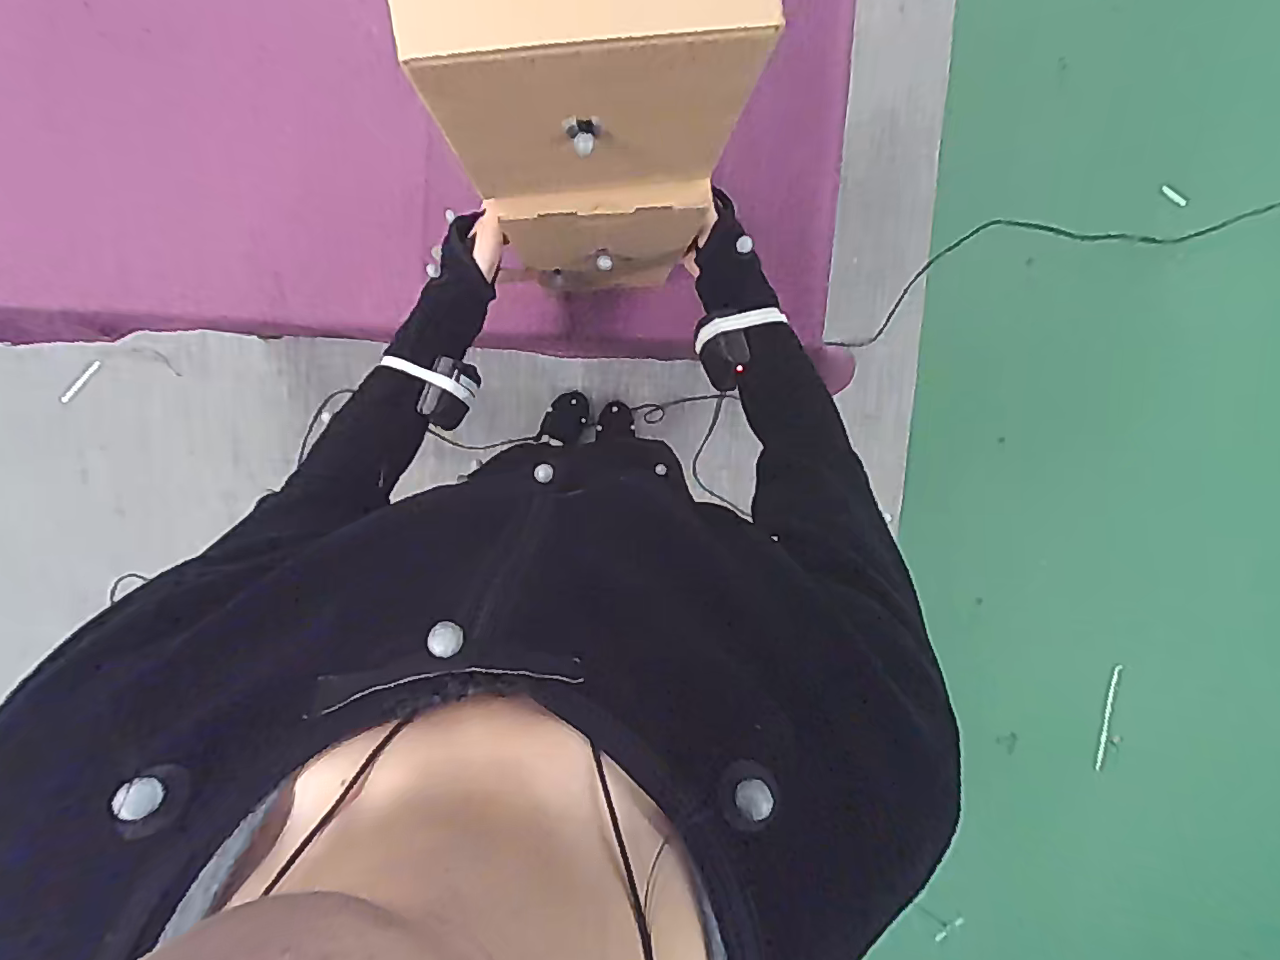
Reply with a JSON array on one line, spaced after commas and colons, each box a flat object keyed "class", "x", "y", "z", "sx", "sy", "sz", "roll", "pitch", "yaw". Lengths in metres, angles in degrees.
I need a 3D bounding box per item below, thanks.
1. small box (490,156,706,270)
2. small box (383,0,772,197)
[{"class": "small box", "x": -0.041, "y": -0.298, "z": 0.475, "sx": 0.168, "sy": 0.176, "sz": 0.179, "roll": -4, "pitch": 99, "yaw": -3}, {"class": "small box", "x": -0.038, "y": -0.283, "z": 0.311, "sx": 0.179, "sy": 0.176, "sz": 0.168, "roll": -7, "pitch": 98, "yaw": -2}]
